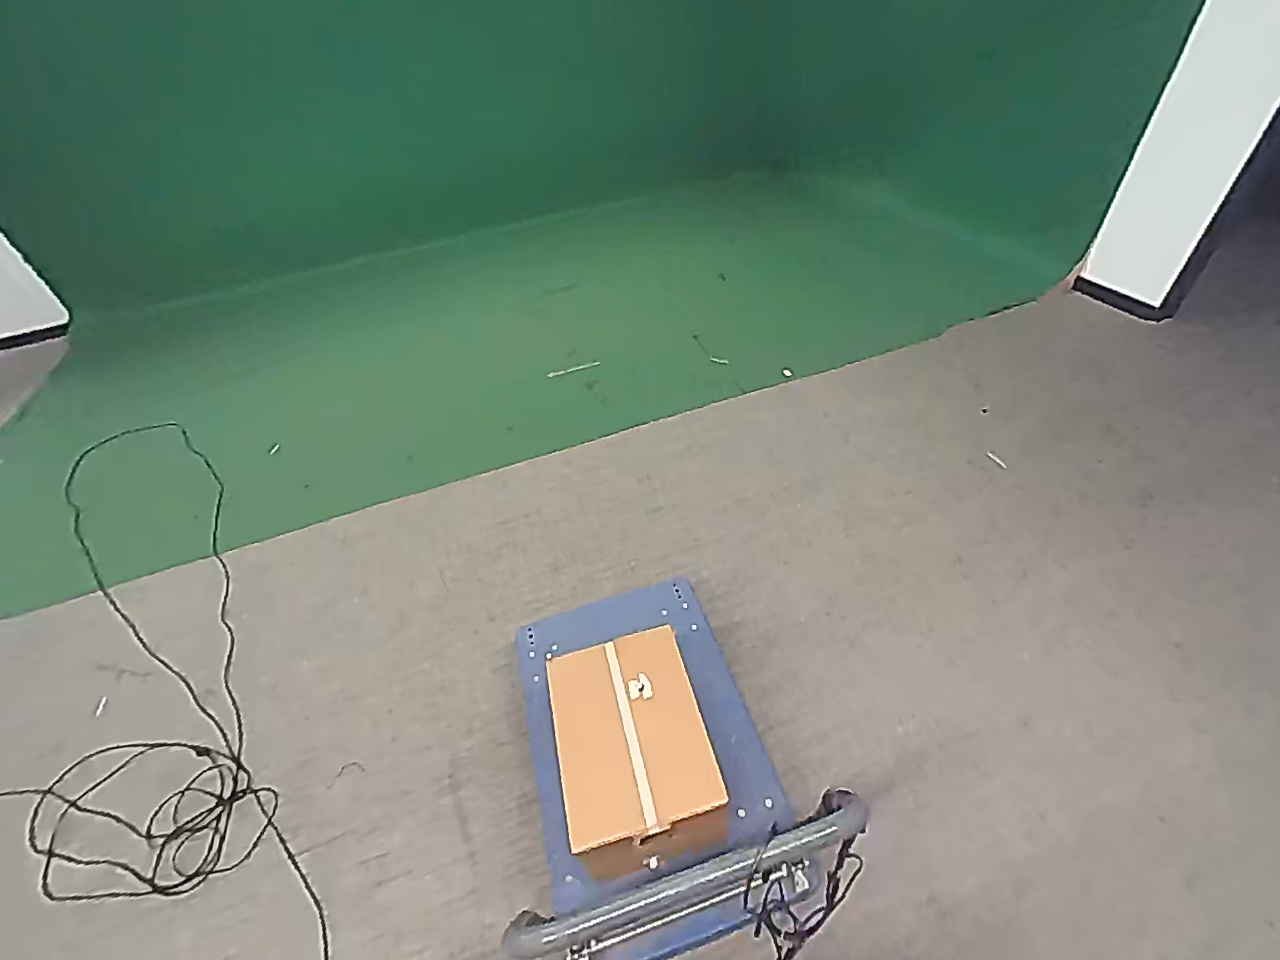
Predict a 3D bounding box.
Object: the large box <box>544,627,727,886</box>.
[{"bbox_3d":[-0.013,0.627,1.250,0.320,0.320,0.408,-14,44,-7],"label":"large box"}]
